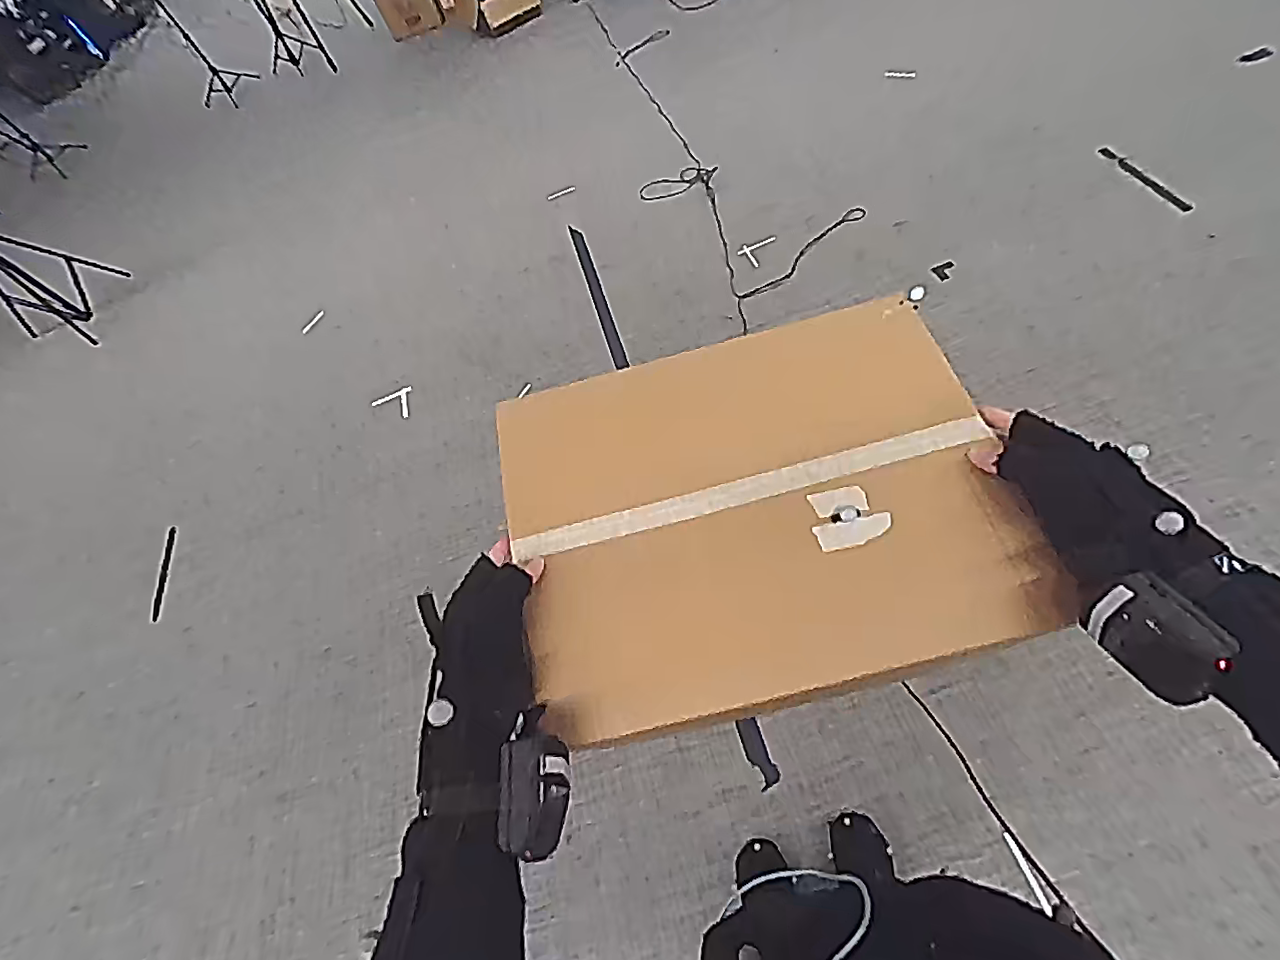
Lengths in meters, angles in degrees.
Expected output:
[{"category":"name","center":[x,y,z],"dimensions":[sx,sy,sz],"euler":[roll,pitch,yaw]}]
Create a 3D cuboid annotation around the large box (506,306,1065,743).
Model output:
[{"category":"large box","center":[0.109,0.076,0.598],"dimensions":[0.408,0.320,0.320],"euler":[-15,64,1]}]
